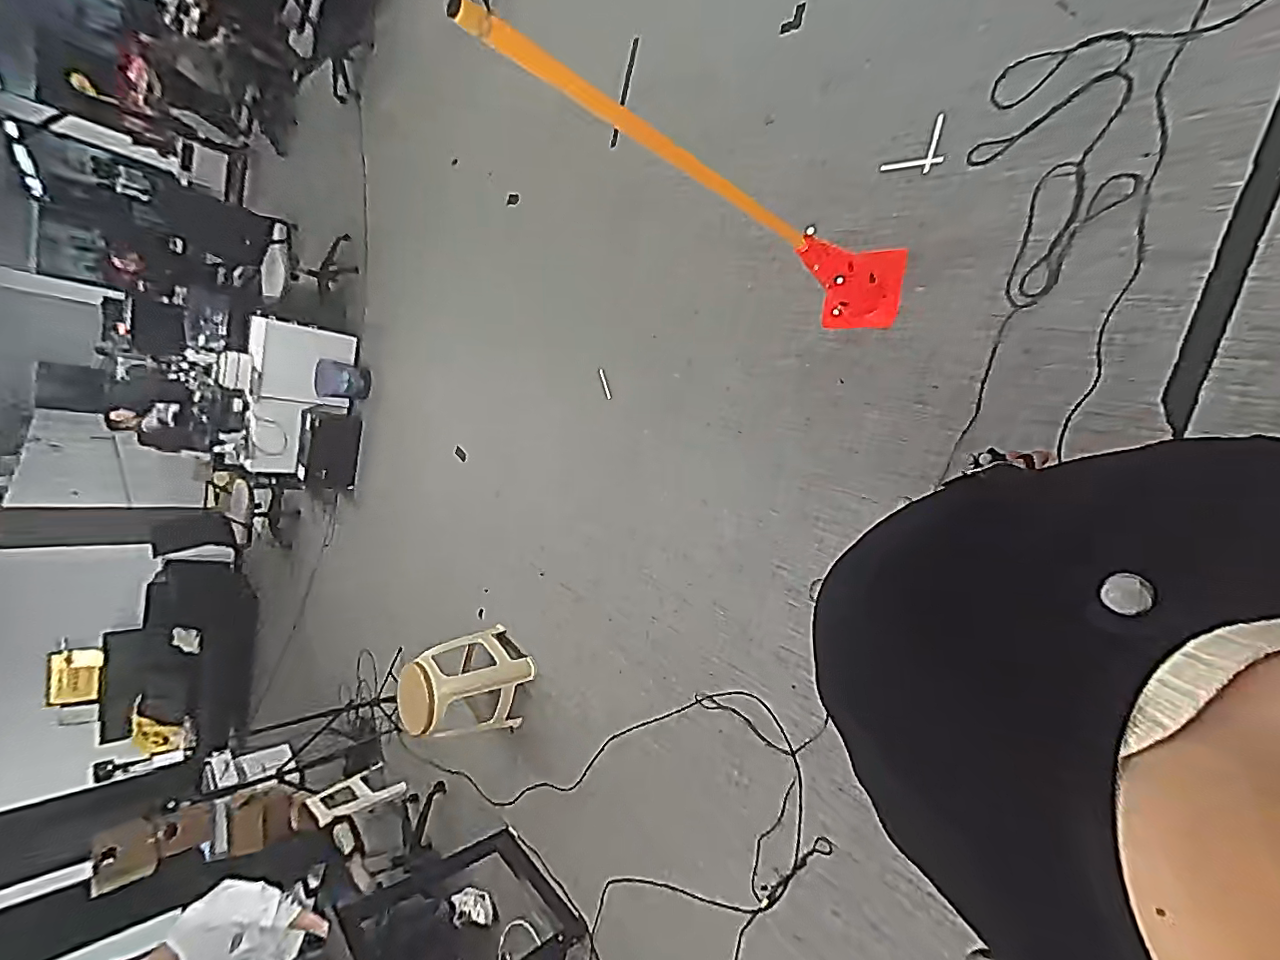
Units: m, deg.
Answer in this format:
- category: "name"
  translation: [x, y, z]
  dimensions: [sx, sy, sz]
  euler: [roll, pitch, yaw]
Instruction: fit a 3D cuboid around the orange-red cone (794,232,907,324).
- category: "orange-red cone"
  translation: [0.470, -0.516, 1.298]
  dimensions: [0.199, 0.360, 0.198]
  euler: [14, 98, 42]
